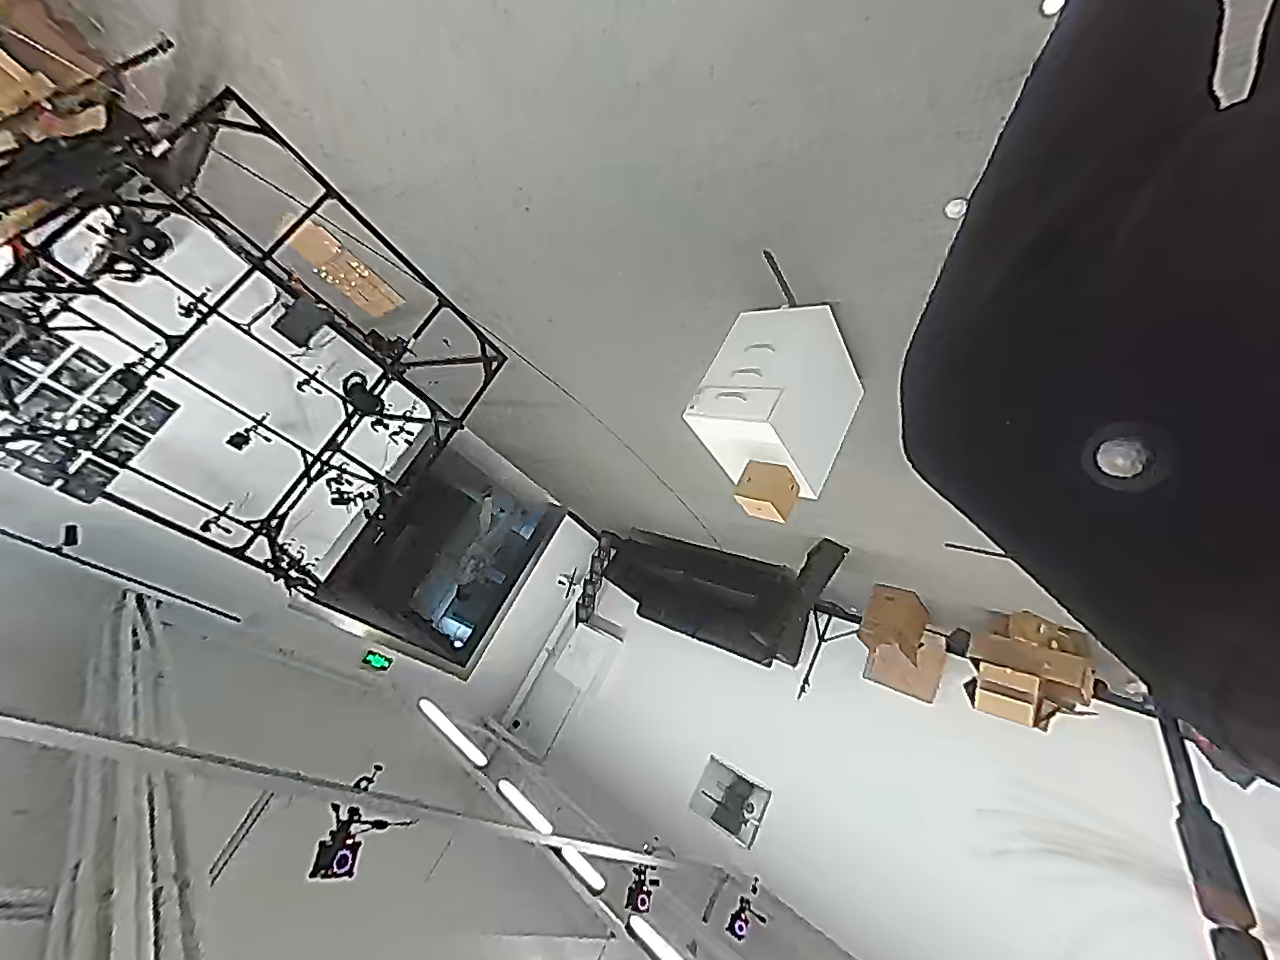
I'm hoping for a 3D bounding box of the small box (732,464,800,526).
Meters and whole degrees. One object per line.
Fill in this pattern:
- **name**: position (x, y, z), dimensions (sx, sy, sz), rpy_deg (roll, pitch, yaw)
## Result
- **small box**: position (0.496, 0.053, 2.120), dimensions (0.179, 0.176, 0.168), rpy_deg (13, 156, 43)
